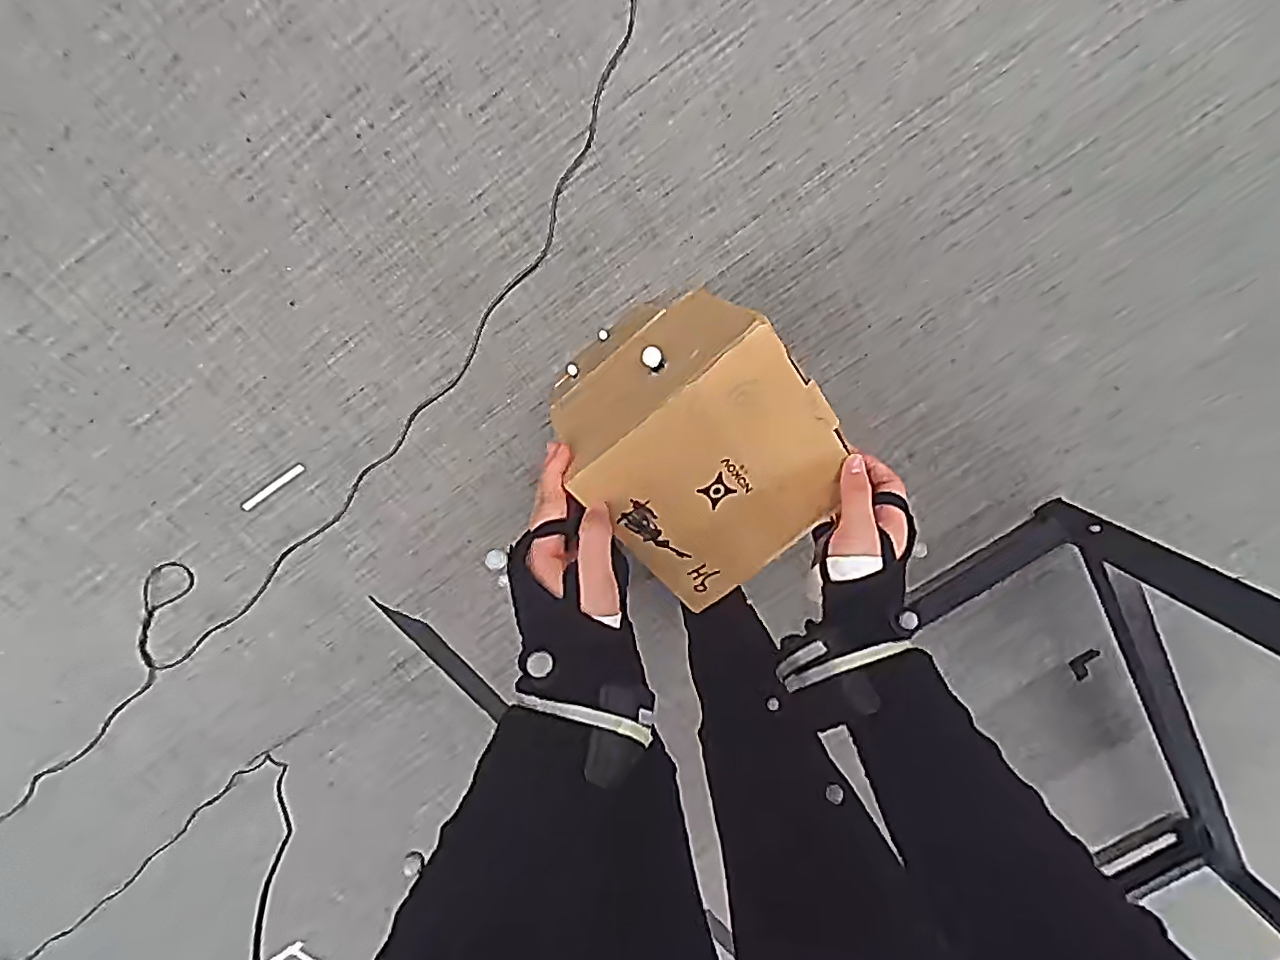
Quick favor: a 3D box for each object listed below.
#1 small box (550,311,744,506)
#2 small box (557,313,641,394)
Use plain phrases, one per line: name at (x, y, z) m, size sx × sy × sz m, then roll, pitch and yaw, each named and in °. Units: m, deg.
small box at (0.005, -0.101, 0.712) m, size 0.179 × 0.176 × 0.168 m, roll -40°, pitch 108°, yaw 8°
small box at (-0.015, -0.150, 0.867) m, size 0.179 × 0.176 × 0.168 m, roll -37°, pitch 108°, yaw 9°
